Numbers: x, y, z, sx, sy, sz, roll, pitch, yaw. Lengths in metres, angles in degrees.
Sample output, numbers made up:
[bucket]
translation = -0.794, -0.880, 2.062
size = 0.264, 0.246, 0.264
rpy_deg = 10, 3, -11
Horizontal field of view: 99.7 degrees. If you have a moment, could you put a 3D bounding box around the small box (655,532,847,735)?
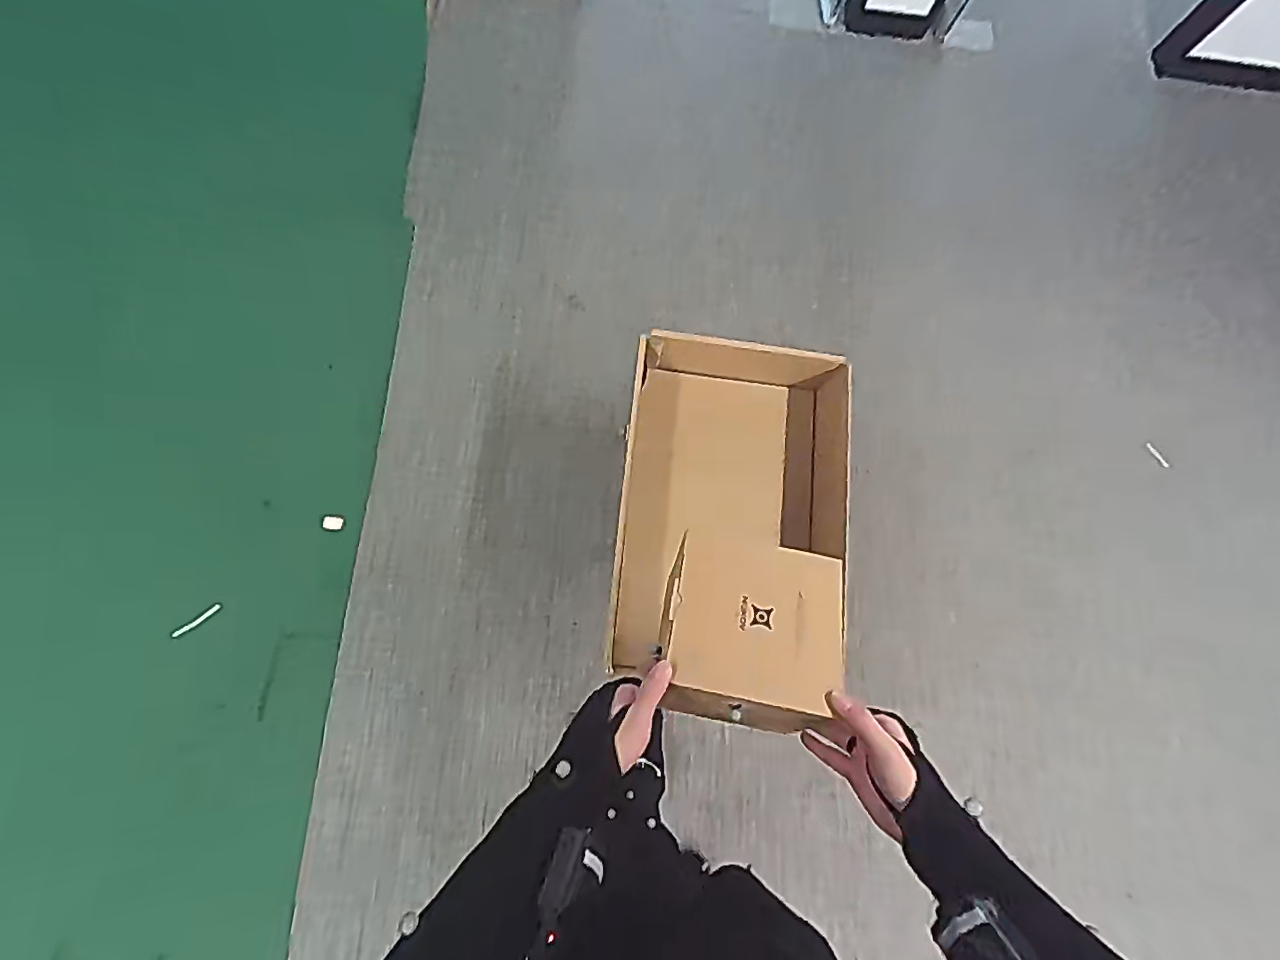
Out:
[small box]
translation = 0.120, 0.183, 0.621
size = 0.179, 0.176, 0.168
rpy_deg = 13, 59, 2
